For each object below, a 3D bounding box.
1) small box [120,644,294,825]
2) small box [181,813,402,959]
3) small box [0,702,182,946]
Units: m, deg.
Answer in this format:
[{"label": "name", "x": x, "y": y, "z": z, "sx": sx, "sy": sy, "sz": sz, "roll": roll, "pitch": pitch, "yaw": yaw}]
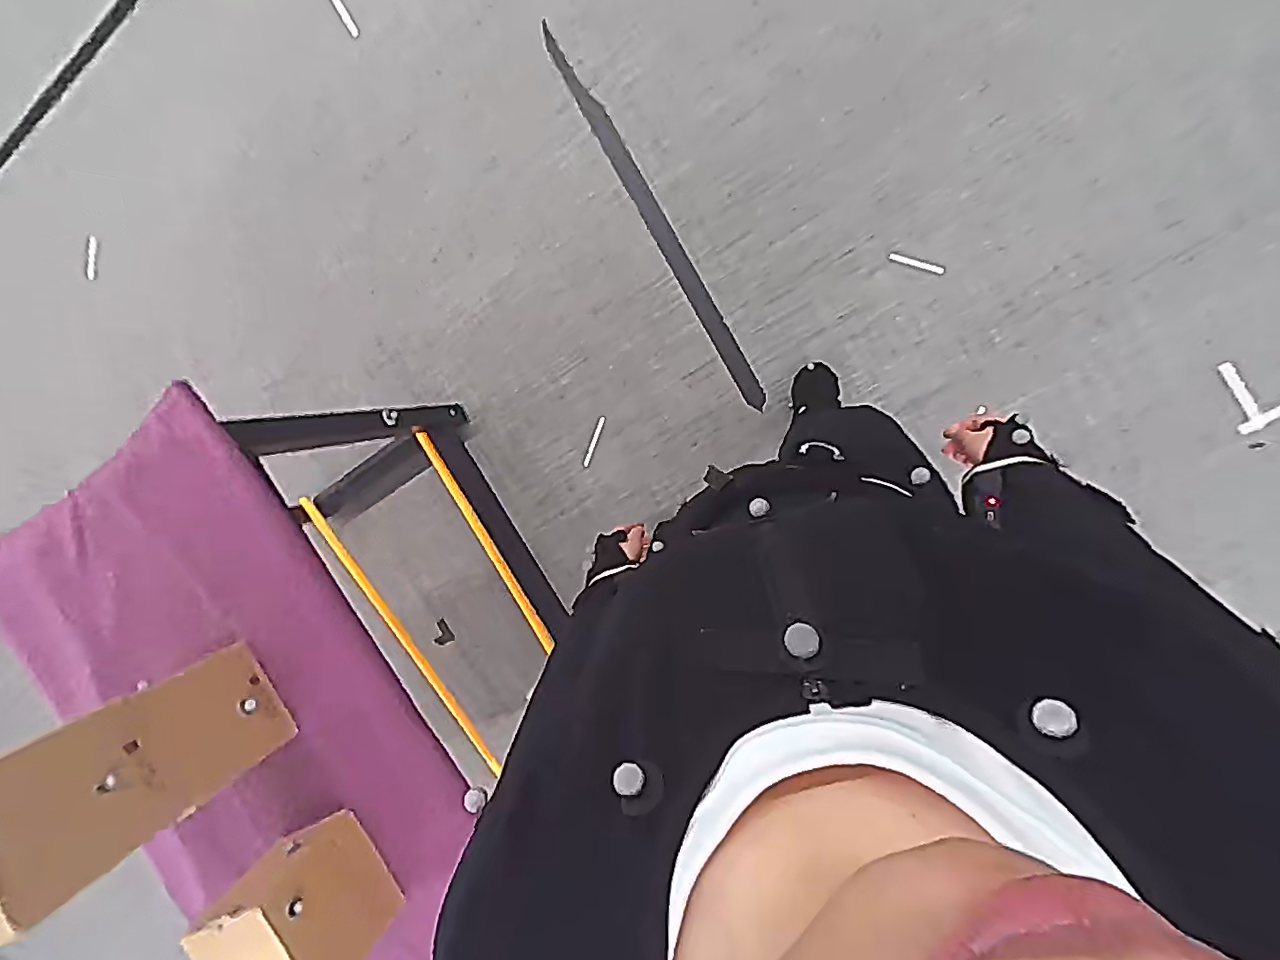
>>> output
[{"label": "small box", "x": -0.650, "y": 0.367, "z": 0.769, "sx": 0.179, "sy": 0.176, "sz": 0.168, "roll": -29, "pitch": 93, "yaw": 14}, {"label": "small box", "x": -0.486, "y": 0.634, "z": 0.782, "sx": 0.168, "sy": 0.176, "sz": 0.179, "roll": -30, "pitch": 92, "yaw": 15}, {"label": "small box", "x": -0.685, "y": 0.389, "z": 0.609, "sx": 0.179, "sy": 0.176, "sz": 0.168, "roll": -29, "pitch": 94, "yaw": 14}]
